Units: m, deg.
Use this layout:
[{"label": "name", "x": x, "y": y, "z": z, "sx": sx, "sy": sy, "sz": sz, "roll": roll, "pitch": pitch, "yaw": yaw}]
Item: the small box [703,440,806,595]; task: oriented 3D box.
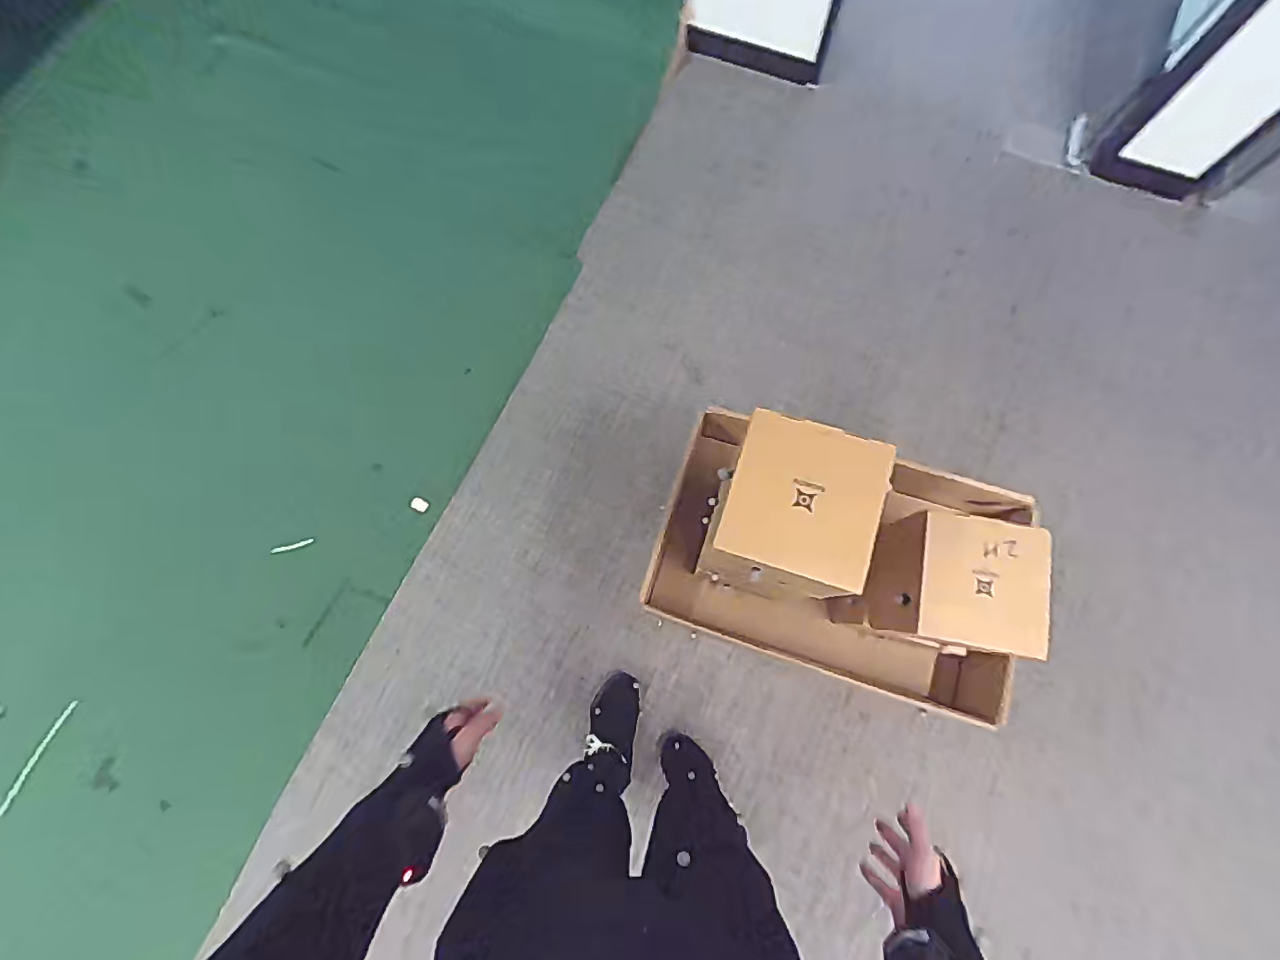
[{"label": "small box", "x": 0.199, "y": 0.066, "z": 0.824, "sx": 0.168, "sy": 0.176, "sz": 0.179, "roll": 19, "pitch": 77, "yaw": 8}]

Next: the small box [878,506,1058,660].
[{"label": "small box", "x": 0.465, "y": 0.150, "z": 0.790, "sx": 0.168, "sy": 0.176, "sz": 0.179, "roll": 11, "pitch": 78, "yaw": 5}]

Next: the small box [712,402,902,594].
[{"label": "small box", "x": 0.191, "y": 0.033, "z": 0.666, "sx": 0.168, "sy": 0.176, "sz": 0.179, "roll": 17, "pitch": 77, "yaw": 8}]
